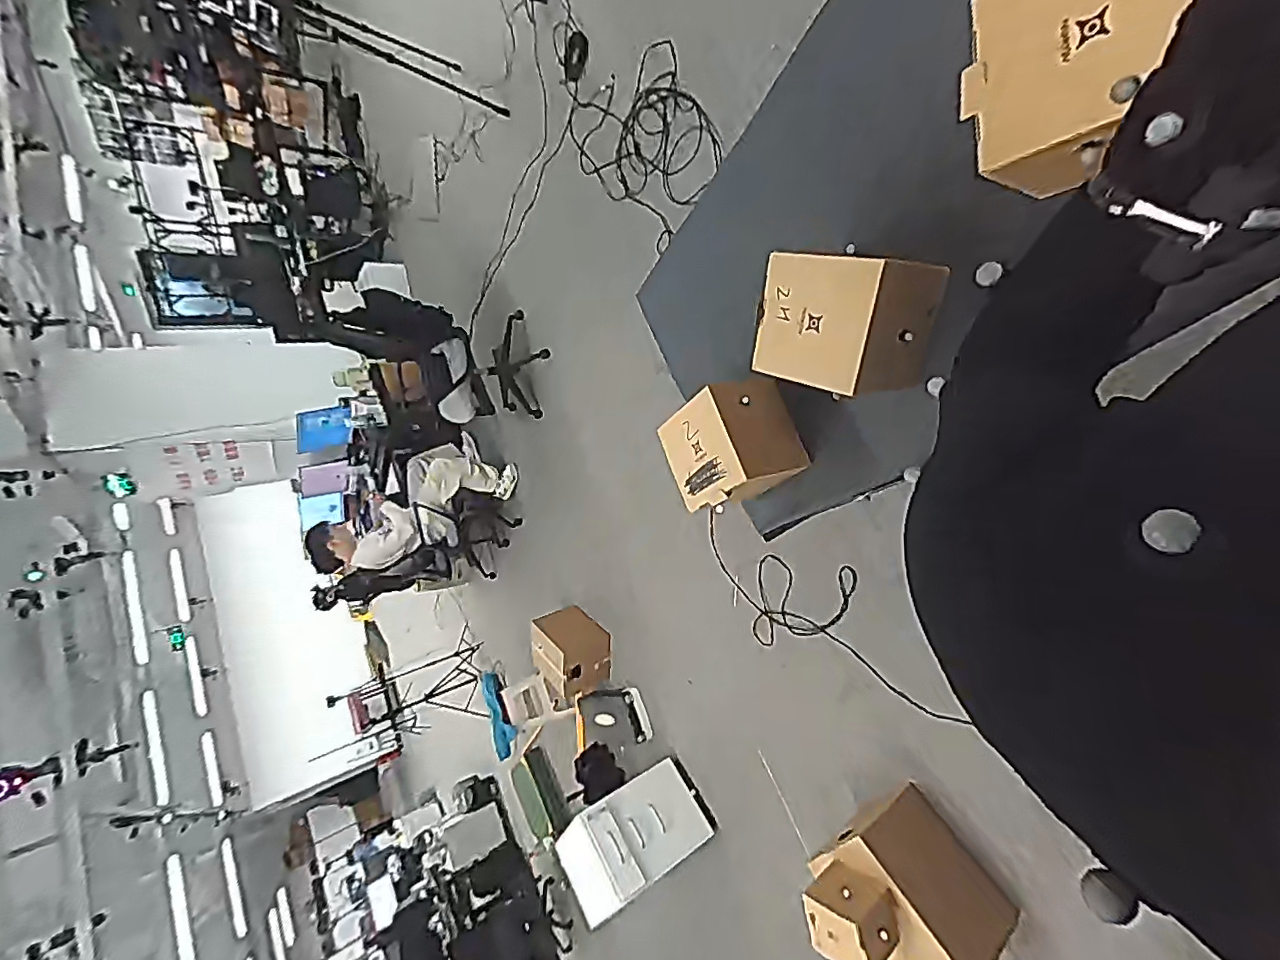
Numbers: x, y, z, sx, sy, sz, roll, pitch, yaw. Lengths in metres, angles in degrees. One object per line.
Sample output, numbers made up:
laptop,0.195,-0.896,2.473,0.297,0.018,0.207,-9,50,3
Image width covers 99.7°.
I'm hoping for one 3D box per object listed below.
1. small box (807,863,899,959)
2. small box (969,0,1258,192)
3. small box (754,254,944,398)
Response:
small box,0.607,1.231,1.523,0.179,0.176,0.168,-11,91,52
small box,0.443,-0.395,0.507,0.179,0.176,0.168,2,101,55
small box,0.292,-0.223,0.765,0.179,0.176,0.168,31,123,46
